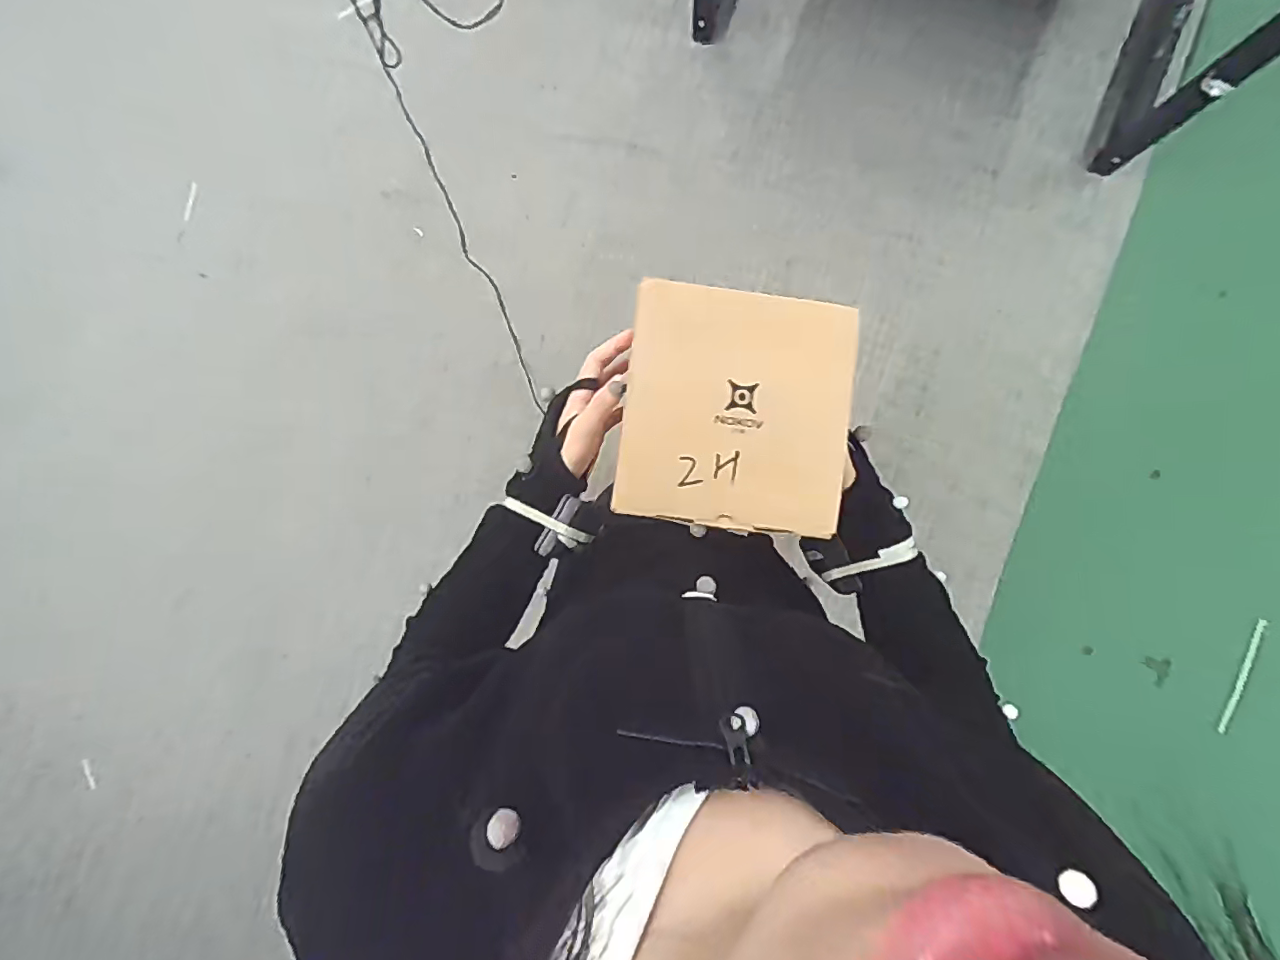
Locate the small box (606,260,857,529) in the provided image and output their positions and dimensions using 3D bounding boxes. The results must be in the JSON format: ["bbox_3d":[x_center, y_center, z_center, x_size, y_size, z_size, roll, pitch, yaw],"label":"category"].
[{"bbox_3d":[0.062,-0.056,0.458,0.168,0.176,0.179,6,87,-2],"label":"small box"}]
